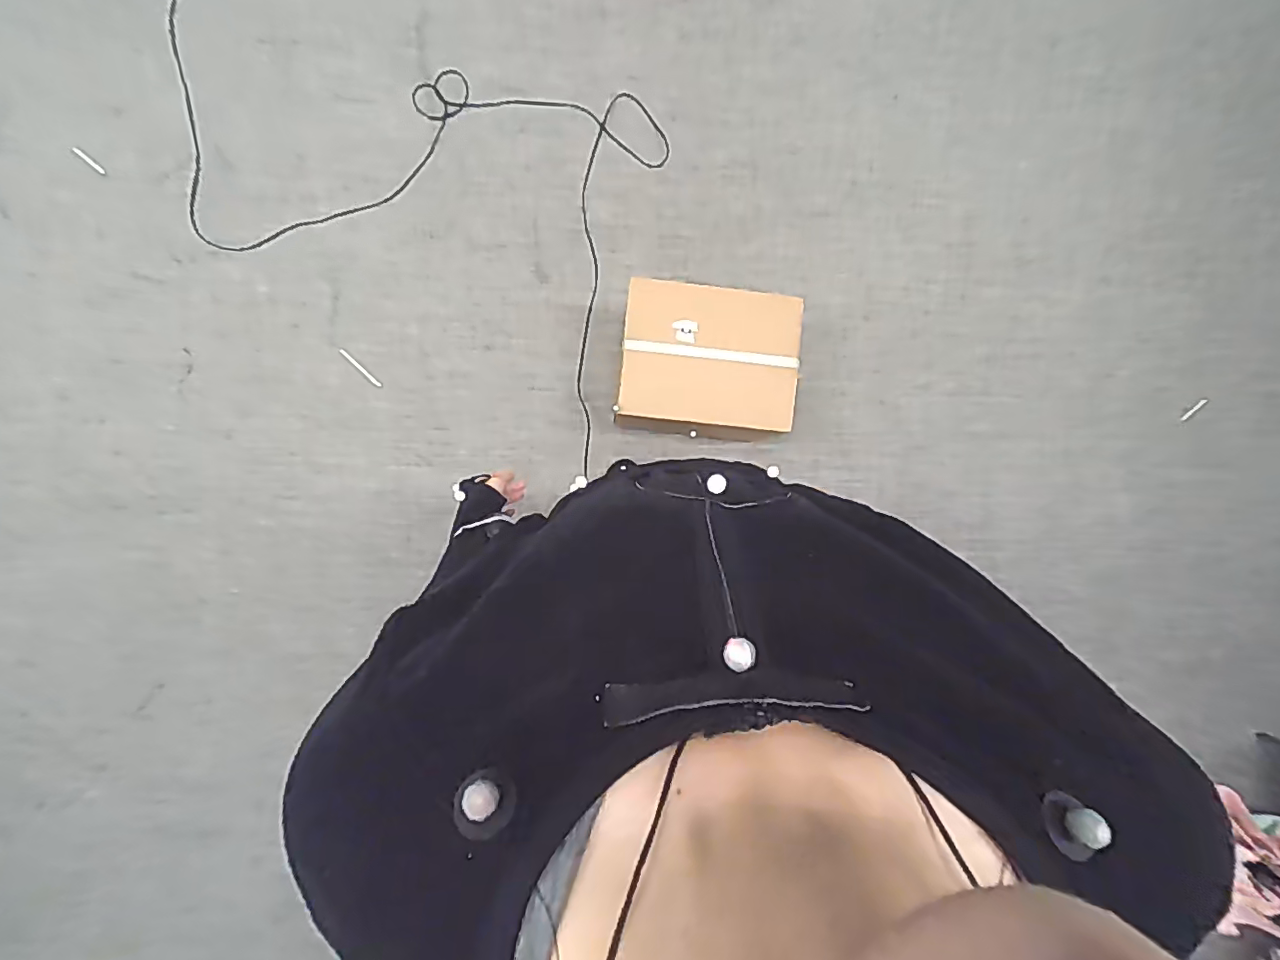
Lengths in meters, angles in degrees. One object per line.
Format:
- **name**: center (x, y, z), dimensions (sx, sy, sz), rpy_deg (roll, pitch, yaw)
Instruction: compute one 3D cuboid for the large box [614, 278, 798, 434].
- **large box**: center (0.150, -0.292, 1.380), dimensions (0.408, 0.320, 0.320), rpy_deg (6, 90, -3)
